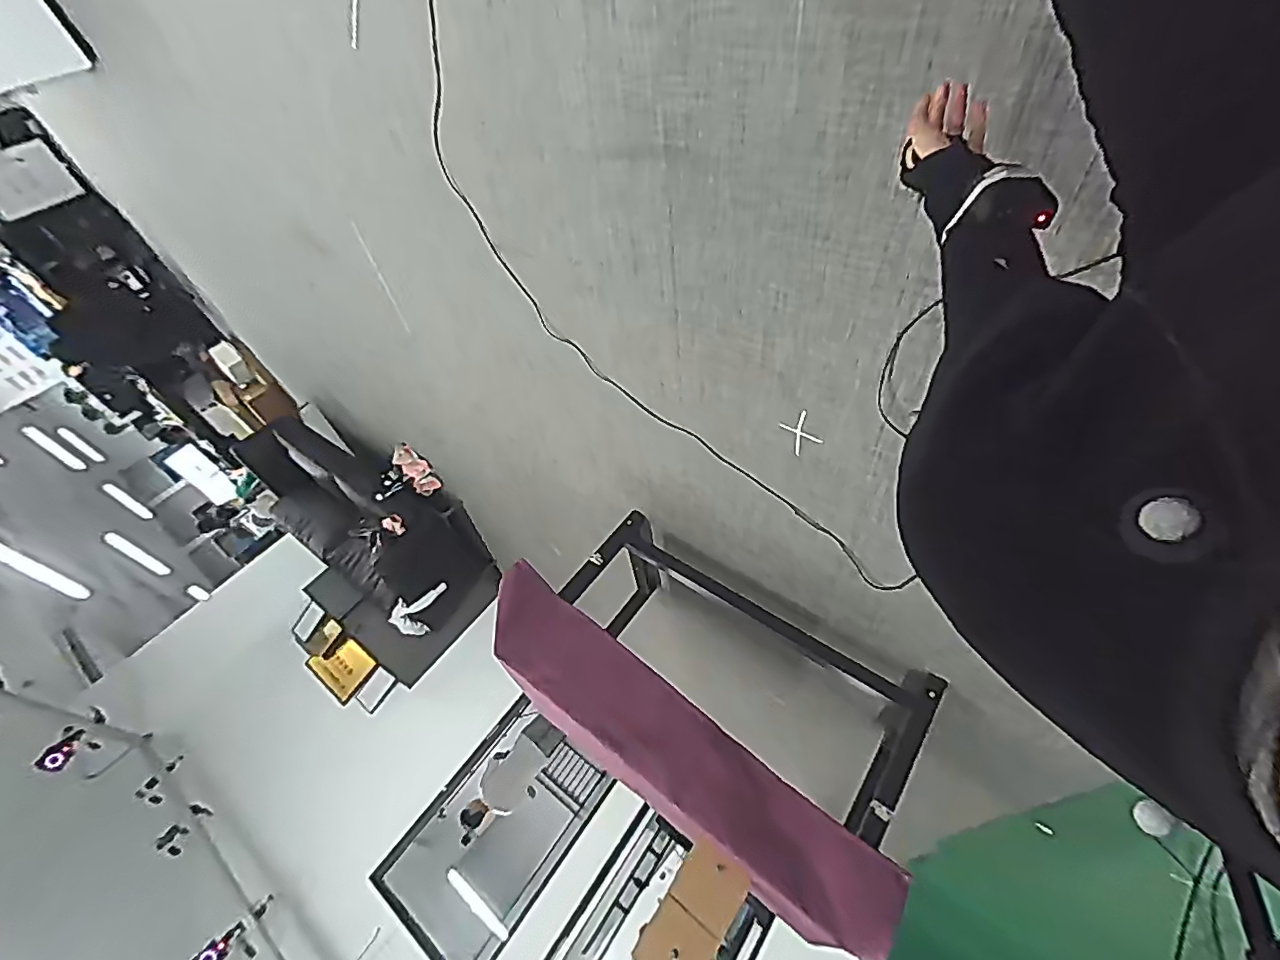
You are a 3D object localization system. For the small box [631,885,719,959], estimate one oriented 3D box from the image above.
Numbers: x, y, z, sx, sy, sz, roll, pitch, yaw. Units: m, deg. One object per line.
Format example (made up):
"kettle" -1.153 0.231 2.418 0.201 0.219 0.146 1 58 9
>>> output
"small box" 0.102 1.259 1.494 0.179 0.176 0.168 26 148 28

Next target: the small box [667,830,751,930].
"small box" 0.202 1.151 1.569 0.179 0.176 0.168 27 149 29
